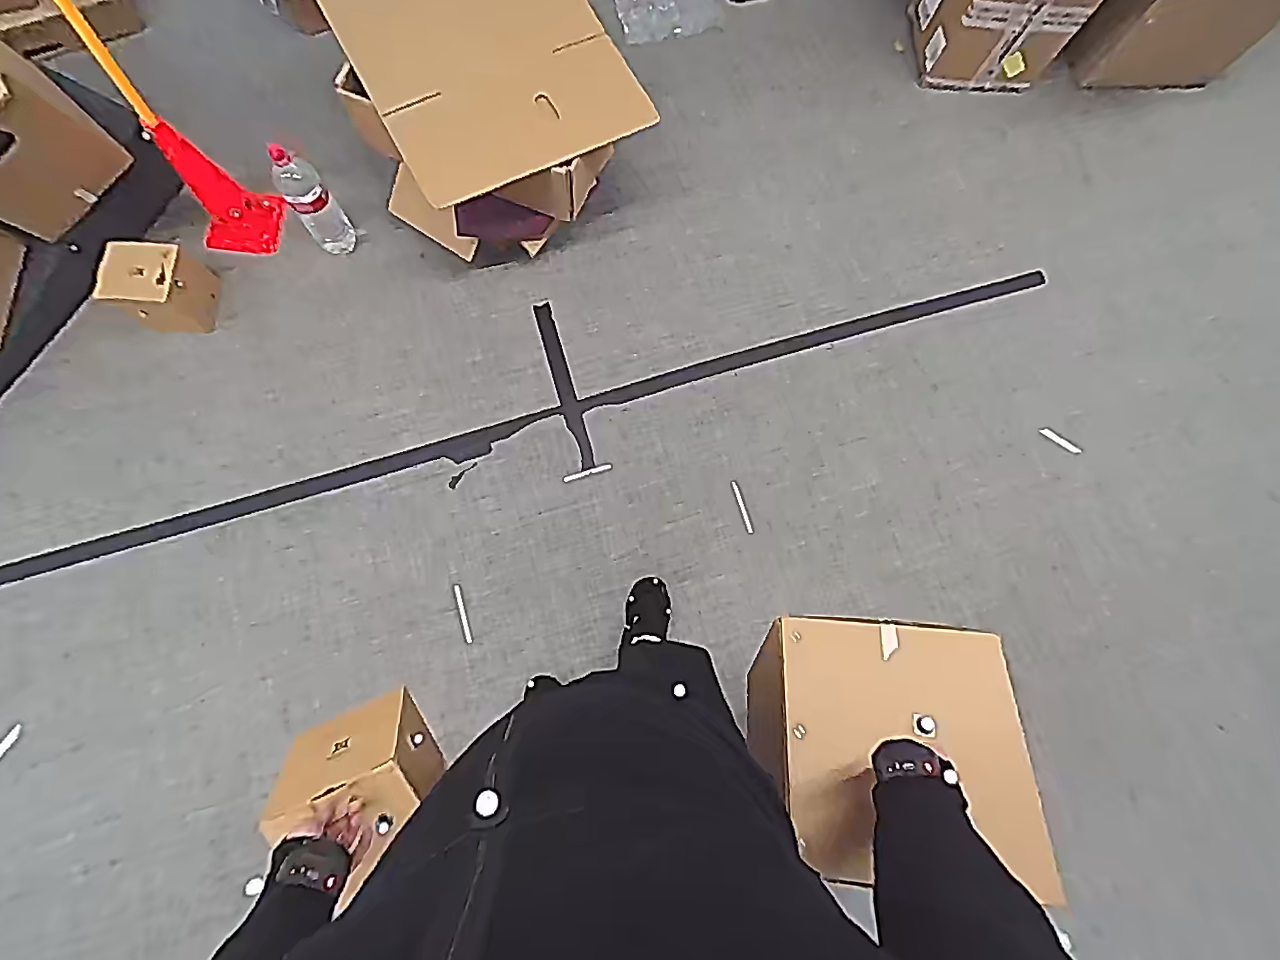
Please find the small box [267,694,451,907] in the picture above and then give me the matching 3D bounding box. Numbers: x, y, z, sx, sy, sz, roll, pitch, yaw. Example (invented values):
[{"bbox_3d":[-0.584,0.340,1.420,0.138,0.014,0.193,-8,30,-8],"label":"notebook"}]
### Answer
[{"bbox_3d":[-0.381,0.455,0.771,0.168,0.179,0.176,-23,107,-14],"label":"small box"}]
